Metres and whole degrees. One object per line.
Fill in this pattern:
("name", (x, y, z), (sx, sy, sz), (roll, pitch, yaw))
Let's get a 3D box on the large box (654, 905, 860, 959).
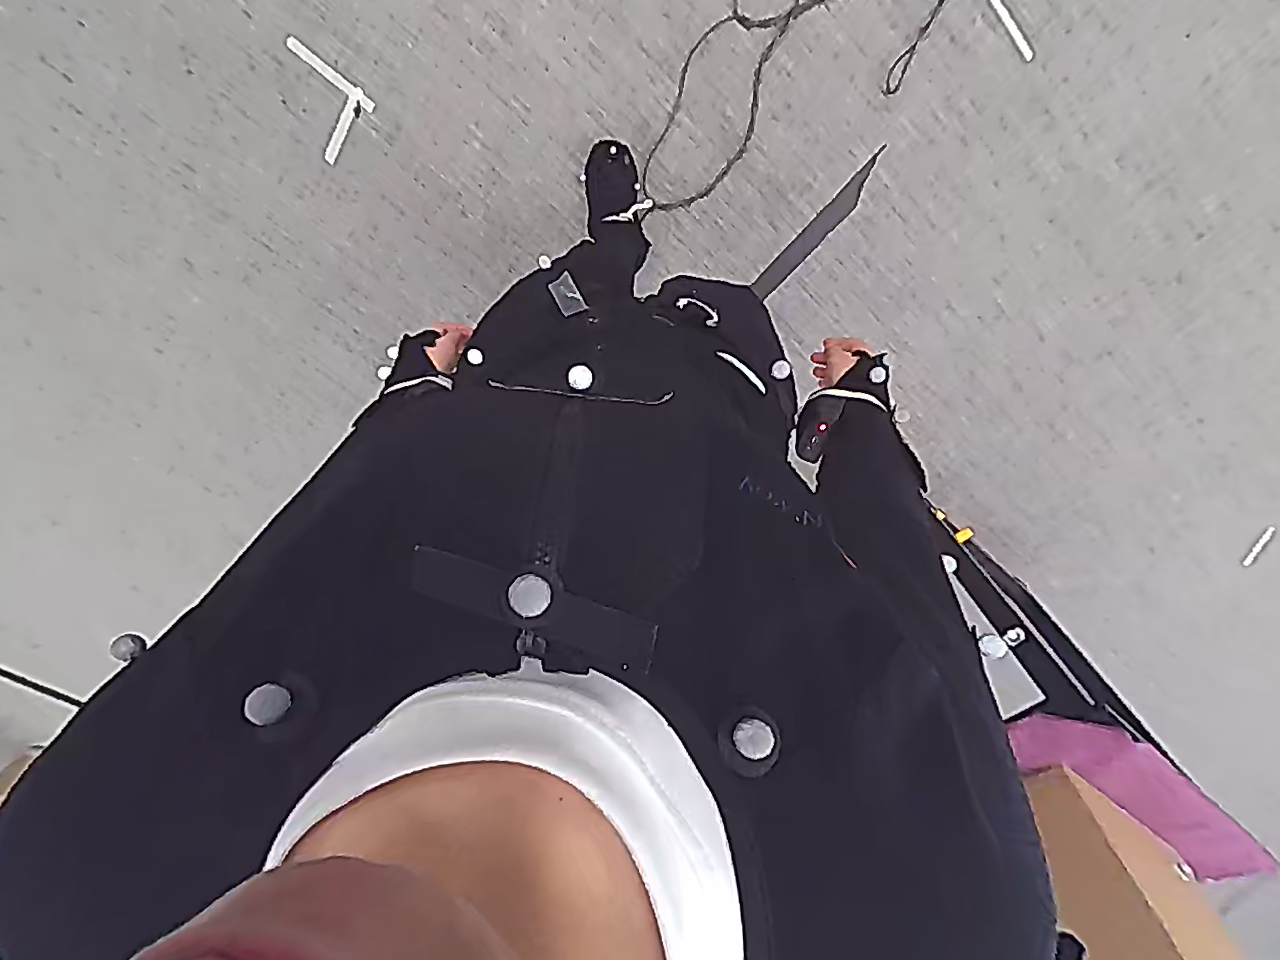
("large box", (0.278, 1.195, 1.163), (0.408, 0.320, 0.320), (36, 115, -19))
